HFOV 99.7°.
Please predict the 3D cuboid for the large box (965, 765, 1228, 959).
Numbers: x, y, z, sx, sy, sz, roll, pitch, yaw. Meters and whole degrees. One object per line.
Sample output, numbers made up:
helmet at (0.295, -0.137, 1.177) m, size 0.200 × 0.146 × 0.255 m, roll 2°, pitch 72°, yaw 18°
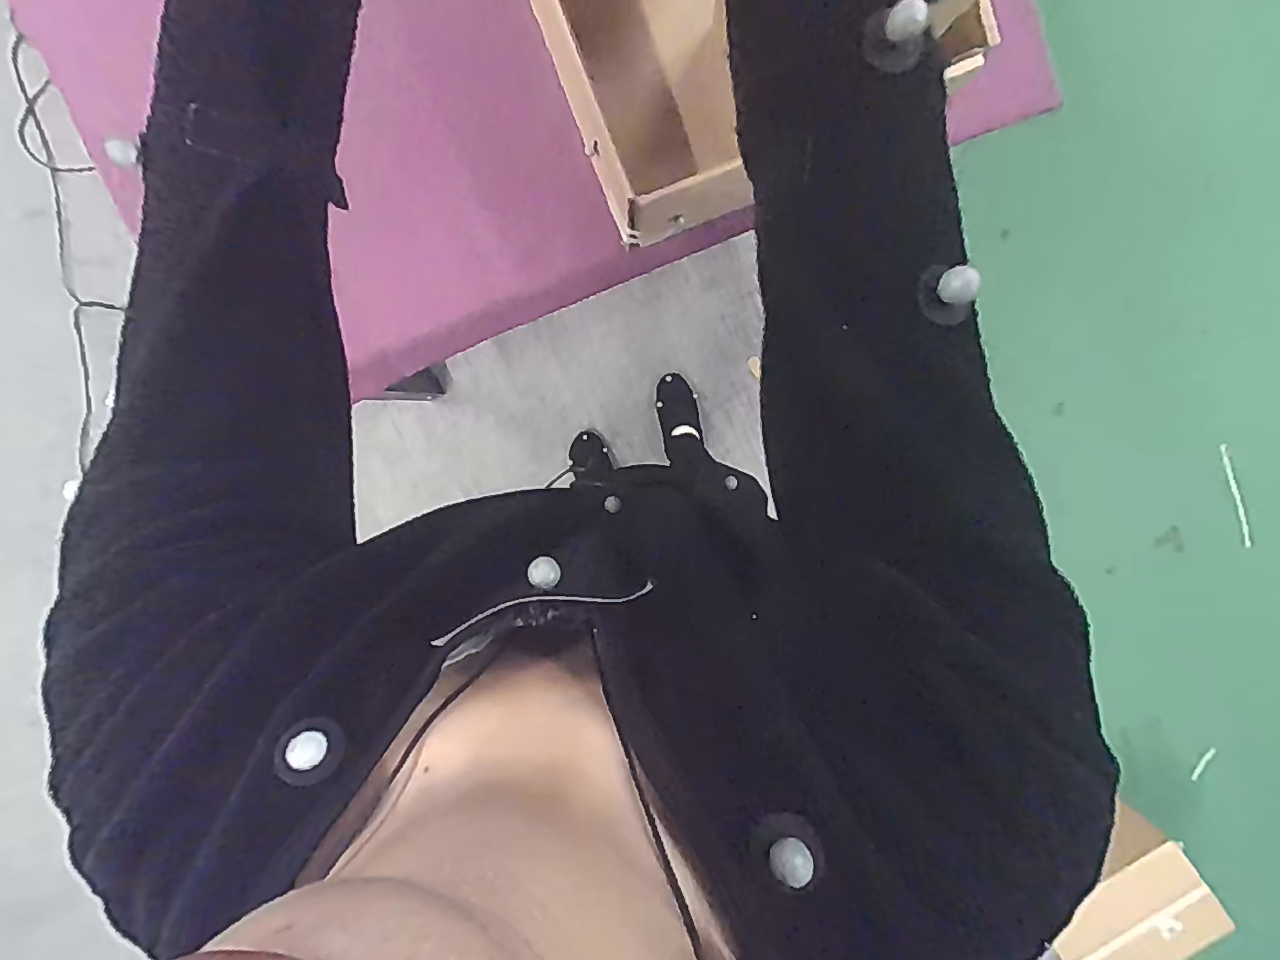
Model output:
large box at (1.233, 1.105, 1.505) m, size 0.408 × 0.320 × 0.320 m, roll -37°, pitch 97°, yaw 3°
